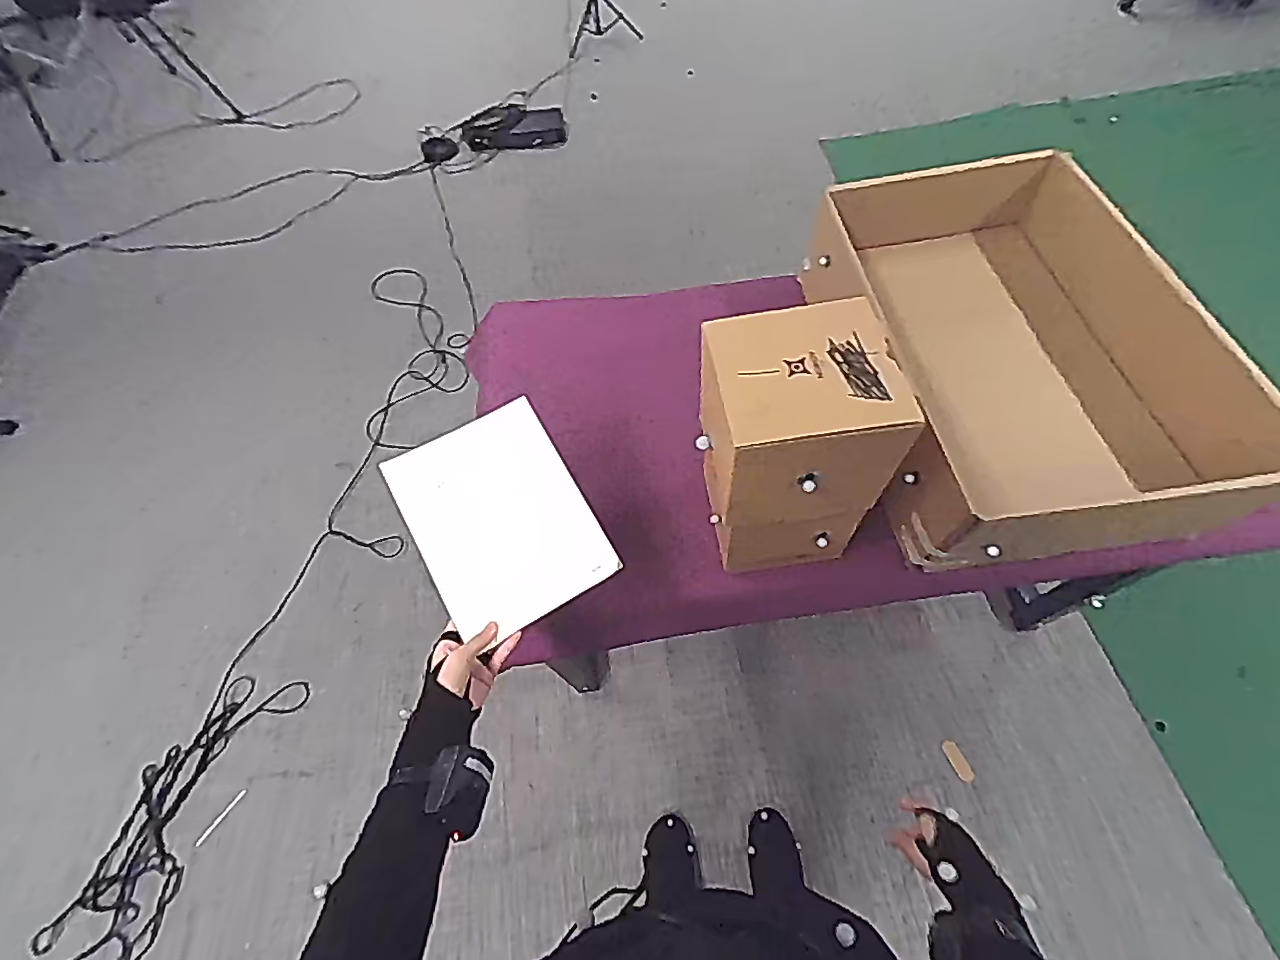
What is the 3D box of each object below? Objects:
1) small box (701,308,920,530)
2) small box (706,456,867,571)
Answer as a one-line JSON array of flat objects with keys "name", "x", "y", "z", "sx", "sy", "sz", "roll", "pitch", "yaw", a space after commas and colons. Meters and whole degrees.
[{"name": "small box", "x": 0.166, "y": -0.060, "z": 0.595, "sx": 0.179, "sy": 0.176, "sz": 0.168, "roll": -8, "pitch": 58, "yaw": 1}, {"name": "small box", "x": 0.185, "y": 0.014, "z": 0.740, "sx": 0.168, "sy": 0.176, "sz": 0.179, "roll": -8, "pitch": 58, "yaw": 0}]
